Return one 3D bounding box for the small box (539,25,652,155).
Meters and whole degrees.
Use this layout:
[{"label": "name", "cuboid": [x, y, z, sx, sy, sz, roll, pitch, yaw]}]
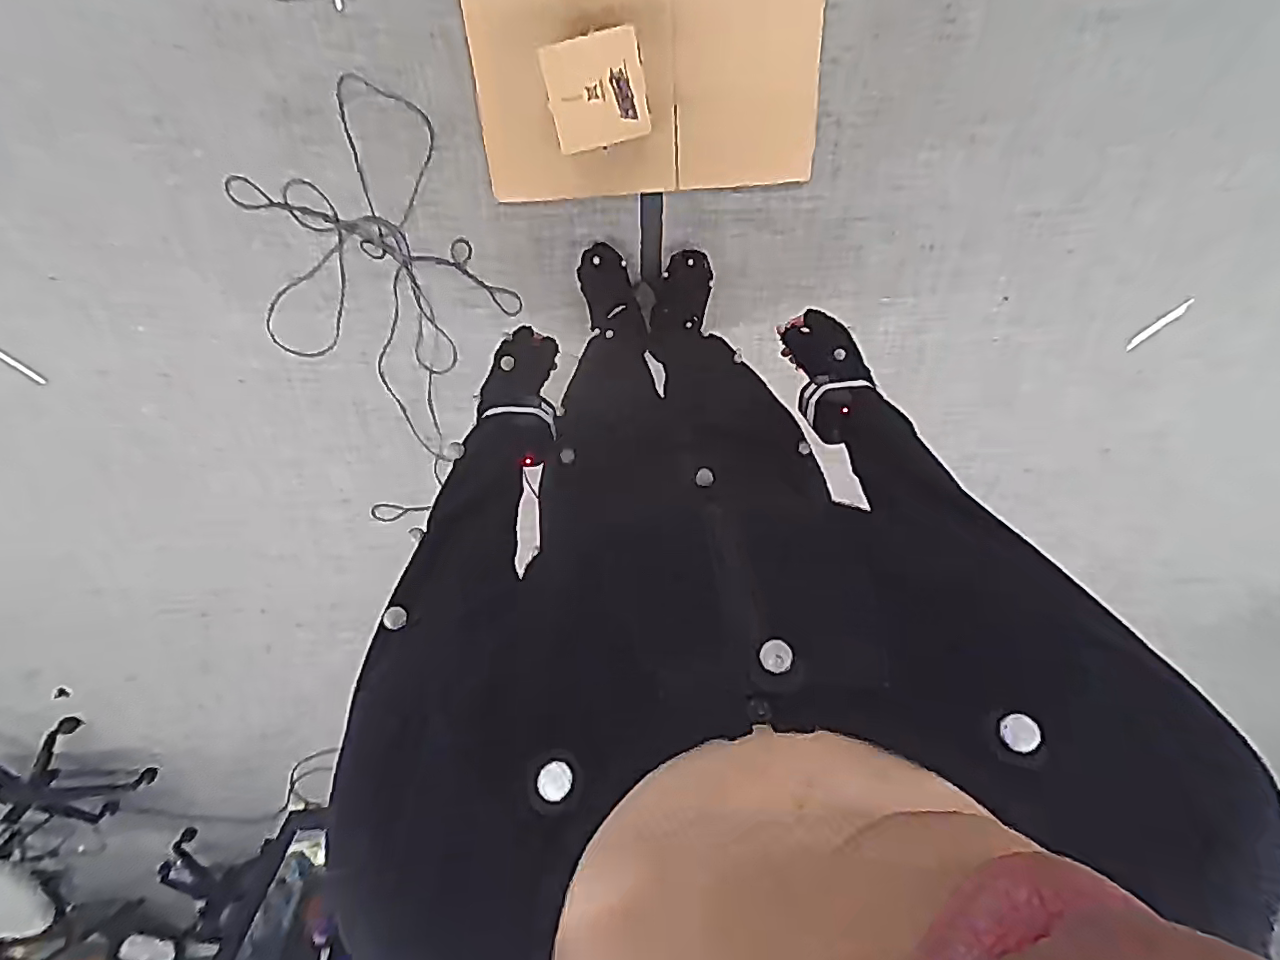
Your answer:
[{"label": "small box", "cuboid": [-0.080, -0.740, 1.040, 0.179, 0.176, 0.168, -11, 121, 5]}]
